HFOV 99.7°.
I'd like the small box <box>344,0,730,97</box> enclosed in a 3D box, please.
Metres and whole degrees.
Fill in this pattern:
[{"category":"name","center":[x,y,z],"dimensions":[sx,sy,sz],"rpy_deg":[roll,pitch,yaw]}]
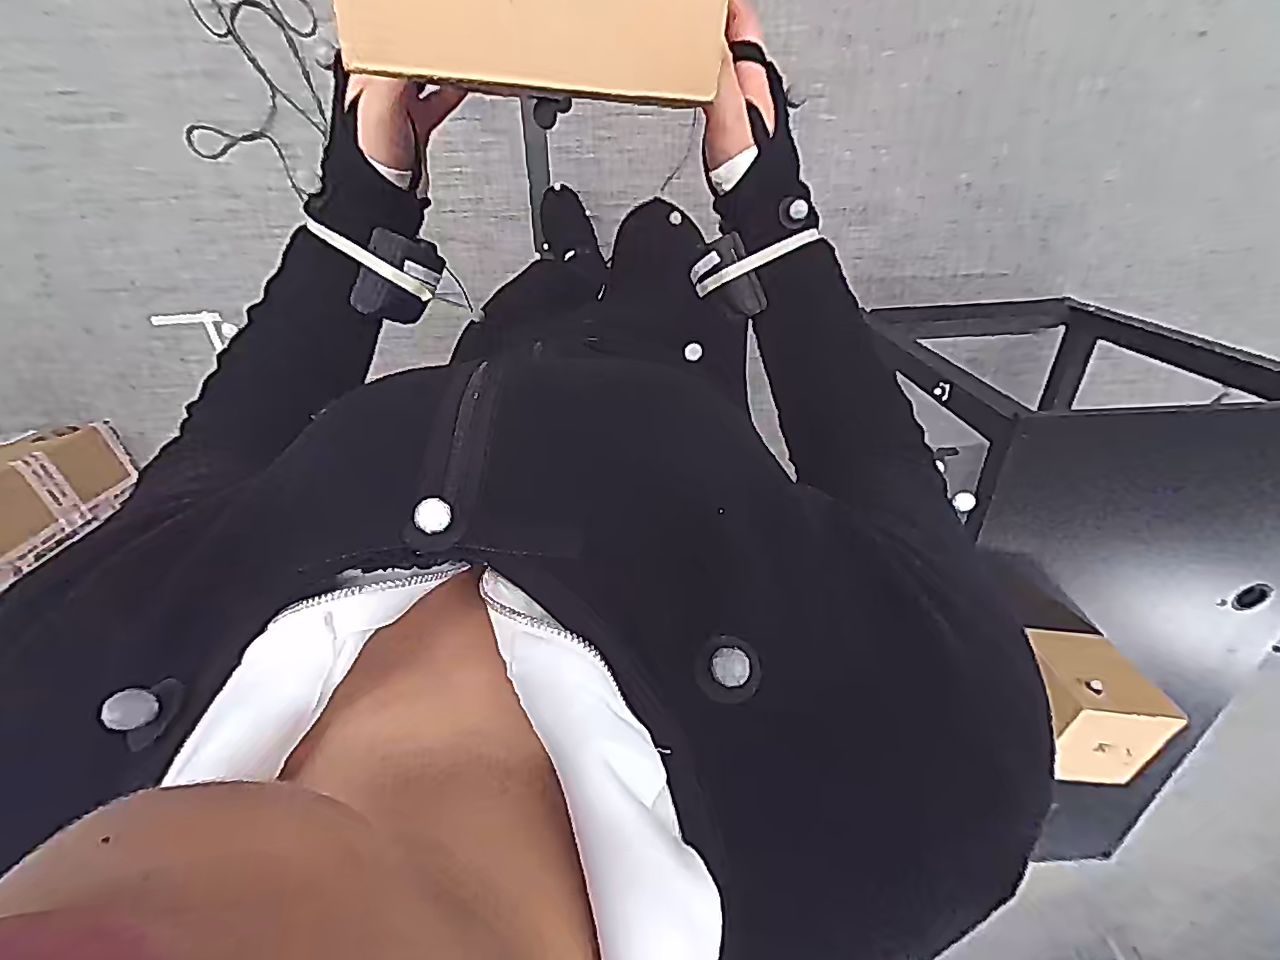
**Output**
[{"category":"small box","center":[-0.039,-0.300,0.260],"dimensions":[0.168,0.176,0.179],"rpy_deg":[3,124,-2]}]

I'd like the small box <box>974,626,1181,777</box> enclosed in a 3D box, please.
[{"category":"small box","center":[0.715,0.367,0.912],"dimensions":[0.179,0.176,0.168],"rpy_deg":[7,120,-6]}]
